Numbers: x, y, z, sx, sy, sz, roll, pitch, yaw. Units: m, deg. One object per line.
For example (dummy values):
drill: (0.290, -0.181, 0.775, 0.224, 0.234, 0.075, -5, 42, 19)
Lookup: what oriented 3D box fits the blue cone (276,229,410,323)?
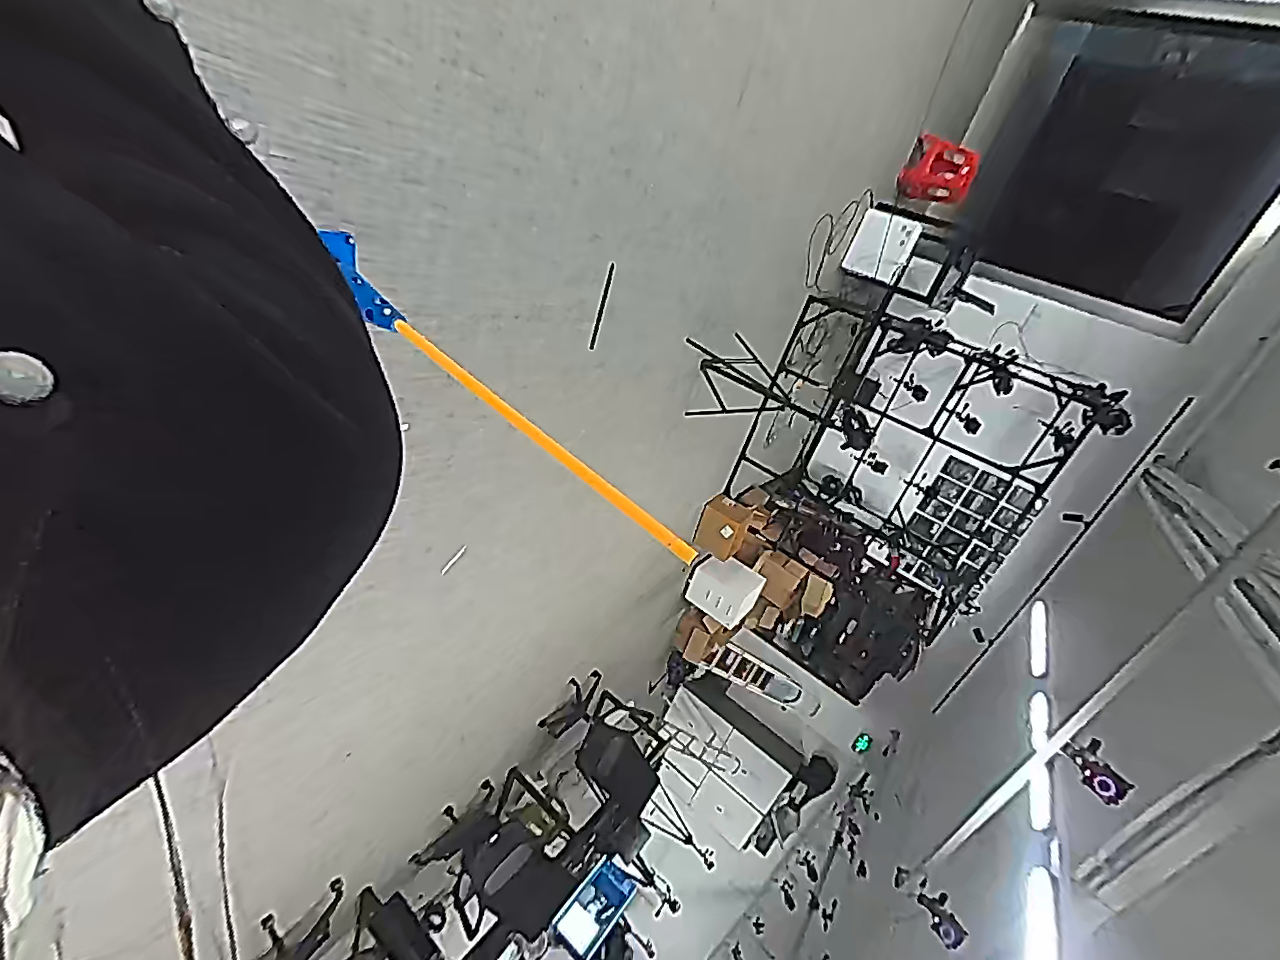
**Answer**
blue cone: (-0.663, -0.439, 1.266, 0.193, 0.380, 0.192, -25, 139, -50)
